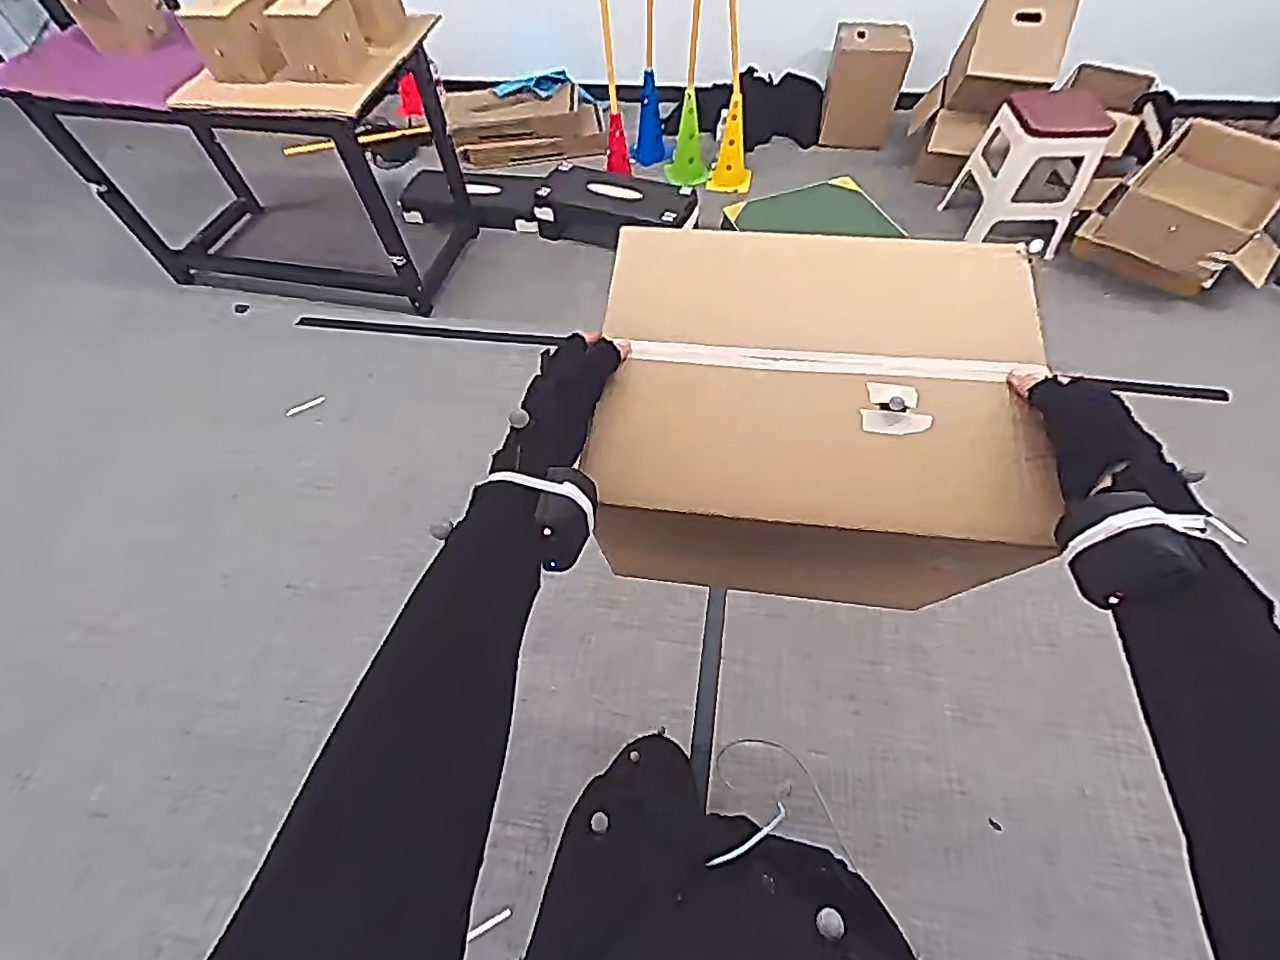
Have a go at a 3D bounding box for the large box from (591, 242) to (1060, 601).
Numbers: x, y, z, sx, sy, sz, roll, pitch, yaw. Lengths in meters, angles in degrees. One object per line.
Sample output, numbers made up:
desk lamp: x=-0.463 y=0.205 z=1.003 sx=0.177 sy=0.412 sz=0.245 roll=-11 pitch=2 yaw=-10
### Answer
large box: x=0.175 y=-0.050 z=0.654 sx=0.408 sy=0.320 sz=0.320 roll=6 pitch=70 yaw=6
